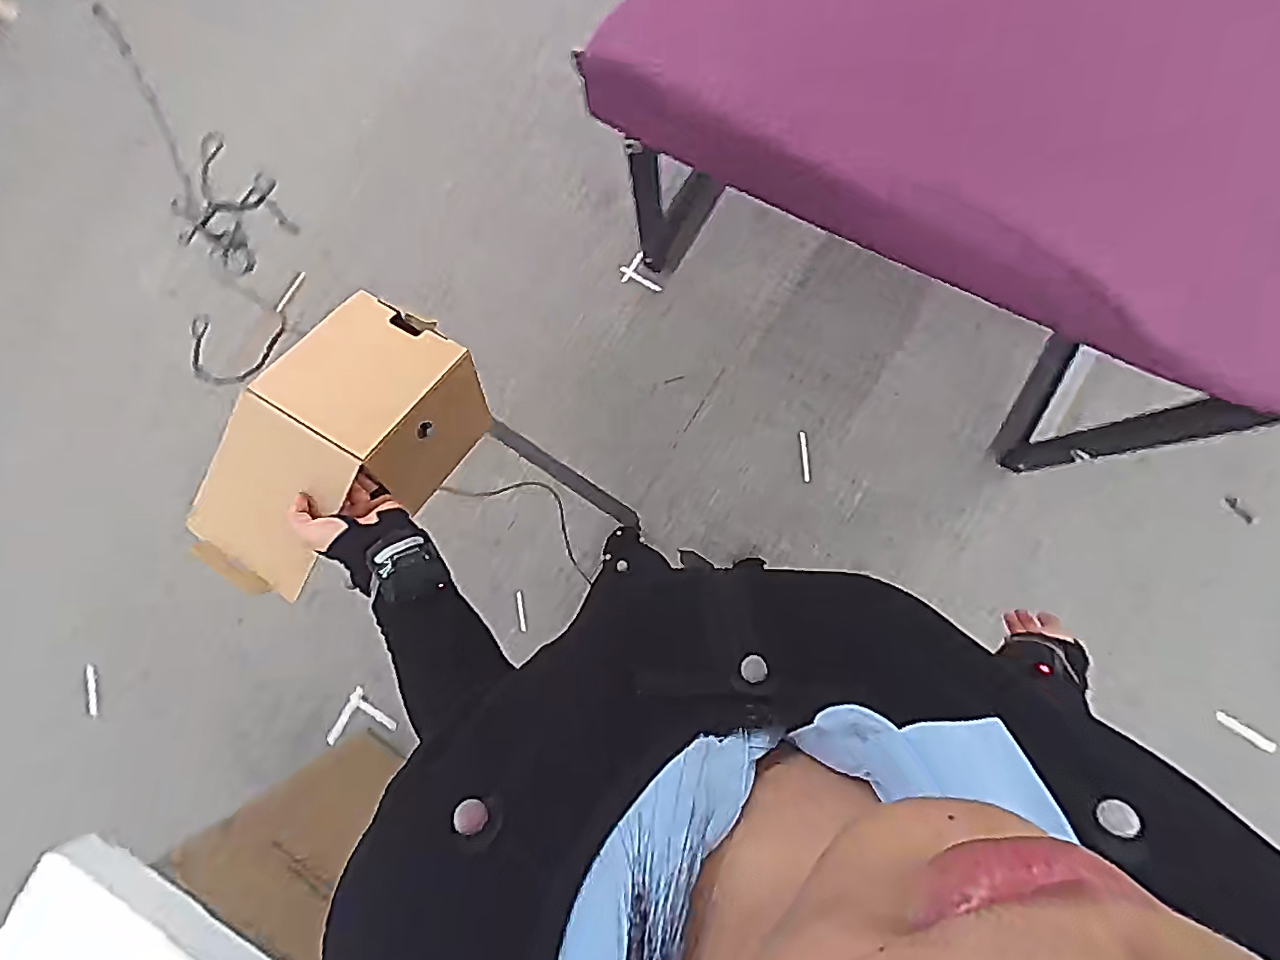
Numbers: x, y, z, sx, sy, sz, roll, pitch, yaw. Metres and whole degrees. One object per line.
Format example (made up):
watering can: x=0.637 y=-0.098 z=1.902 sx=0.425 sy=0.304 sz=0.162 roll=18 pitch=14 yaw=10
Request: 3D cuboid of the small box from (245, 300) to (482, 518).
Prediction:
small box: x=-0.321 y=-0.079 z=0.675 sx=0.168 sy=0.176 sz=0.179 roll=28 pitch=66 yaw=9
